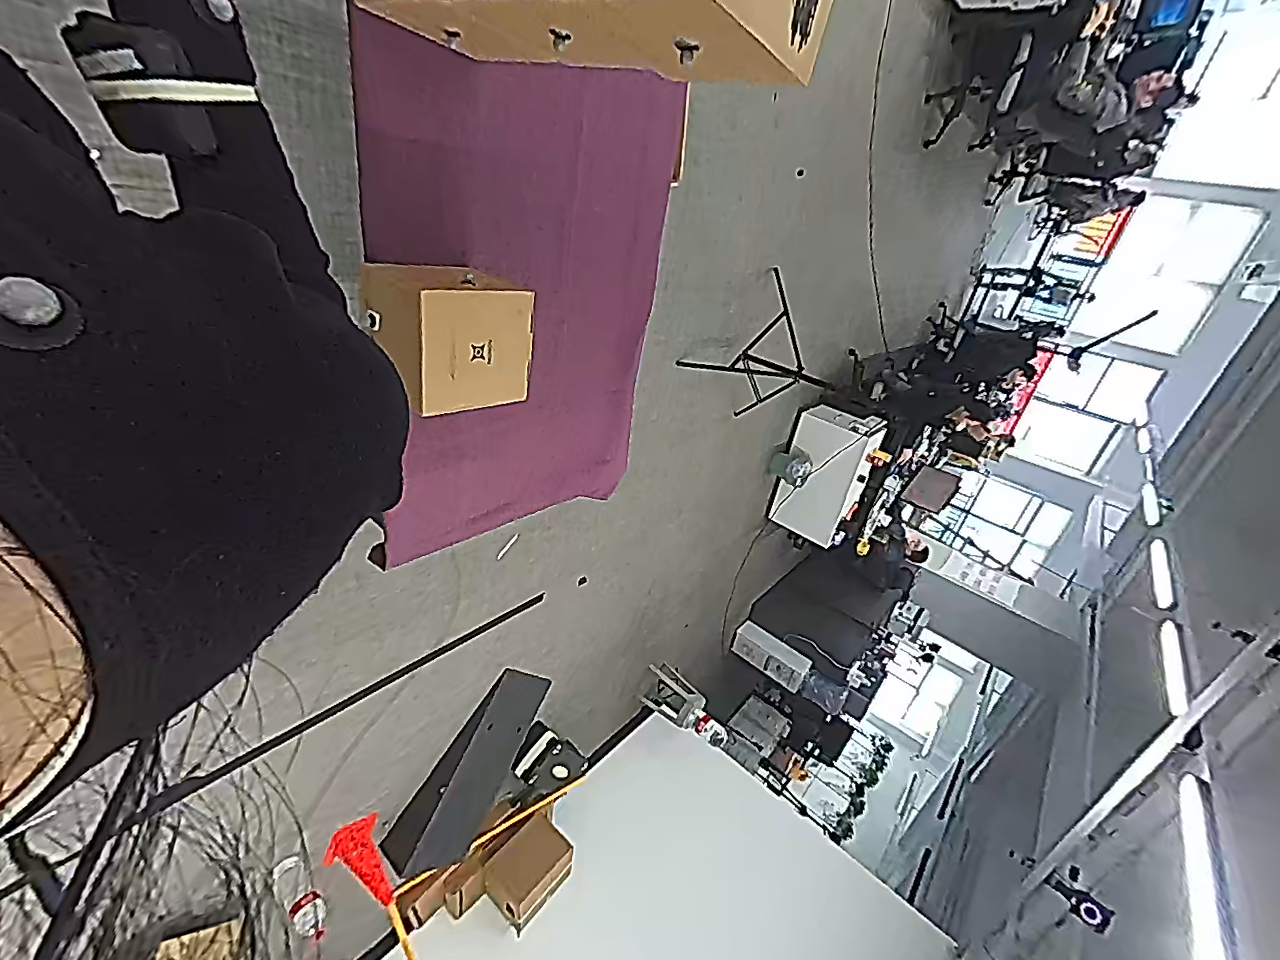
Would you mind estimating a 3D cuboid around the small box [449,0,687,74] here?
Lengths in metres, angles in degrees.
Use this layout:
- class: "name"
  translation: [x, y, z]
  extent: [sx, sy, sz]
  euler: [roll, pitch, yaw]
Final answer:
- class: "small box"
  translation: [-0.062, -0.521, 0.518]
  extent: [0.179, 0.176, 0.168]
  euler: [-17, 129, -48]

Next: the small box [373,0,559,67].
- class: "small box"
  translation: [-0.190, -0.591, 0.595]
  extent: [0.168, 0.176, 0.179]
  euler: [-17, 128, -49]

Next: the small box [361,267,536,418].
- class: "small box"
  translation: [-0.276, -0.207, 0.786]
  extent: [0.179, 0.176, 0.168]
  euler: [-21, 130, -45]
